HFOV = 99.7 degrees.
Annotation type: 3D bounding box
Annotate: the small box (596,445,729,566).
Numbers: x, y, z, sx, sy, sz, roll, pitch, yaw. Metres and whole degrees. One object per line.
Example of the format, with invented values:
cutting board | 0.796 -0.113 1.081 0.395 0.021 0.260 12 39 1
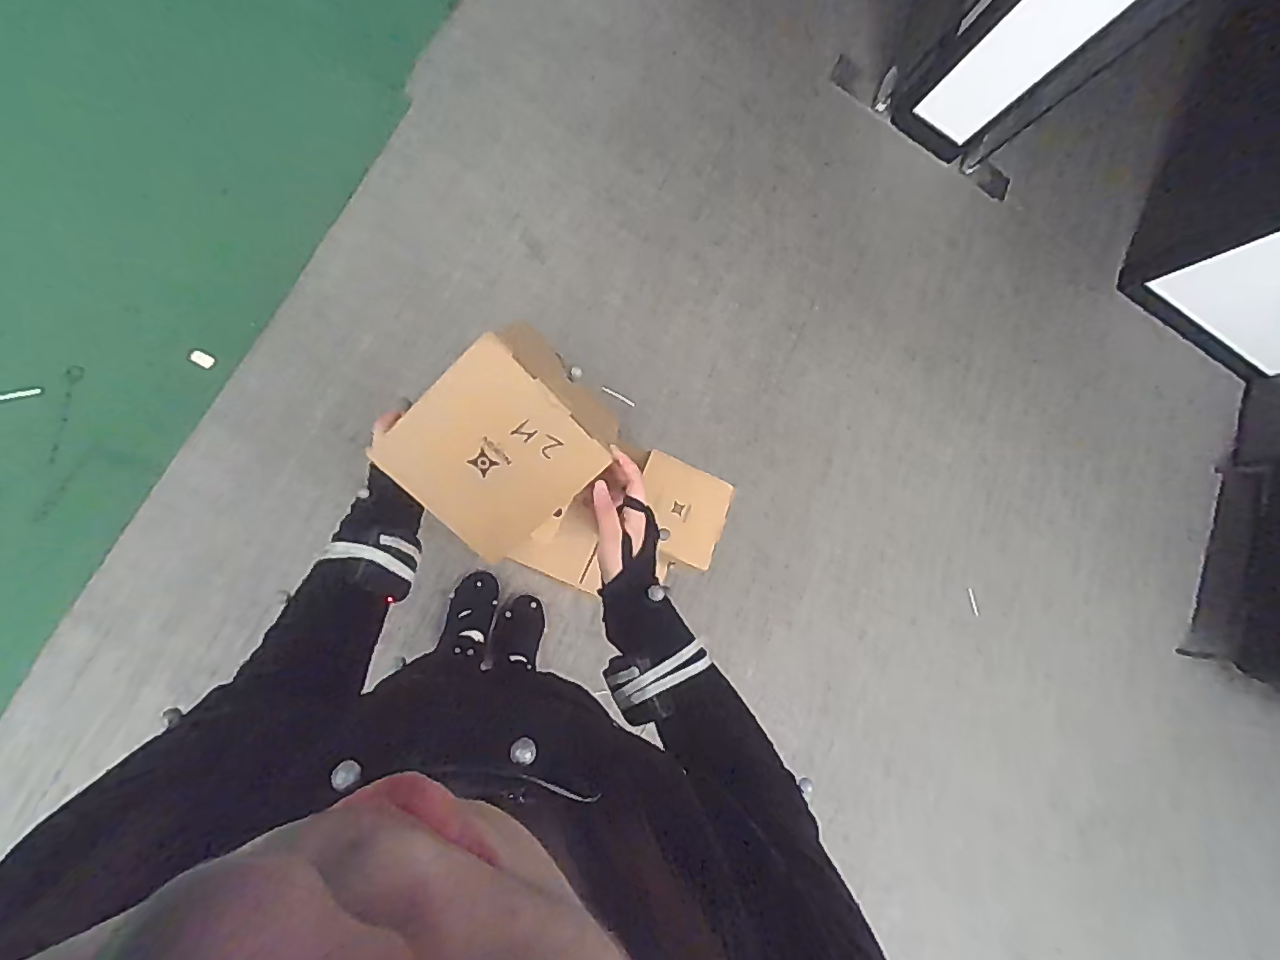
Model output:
small box | 0.037 0.053 1.032 0.179 0.176 0.168 26 77 -11
